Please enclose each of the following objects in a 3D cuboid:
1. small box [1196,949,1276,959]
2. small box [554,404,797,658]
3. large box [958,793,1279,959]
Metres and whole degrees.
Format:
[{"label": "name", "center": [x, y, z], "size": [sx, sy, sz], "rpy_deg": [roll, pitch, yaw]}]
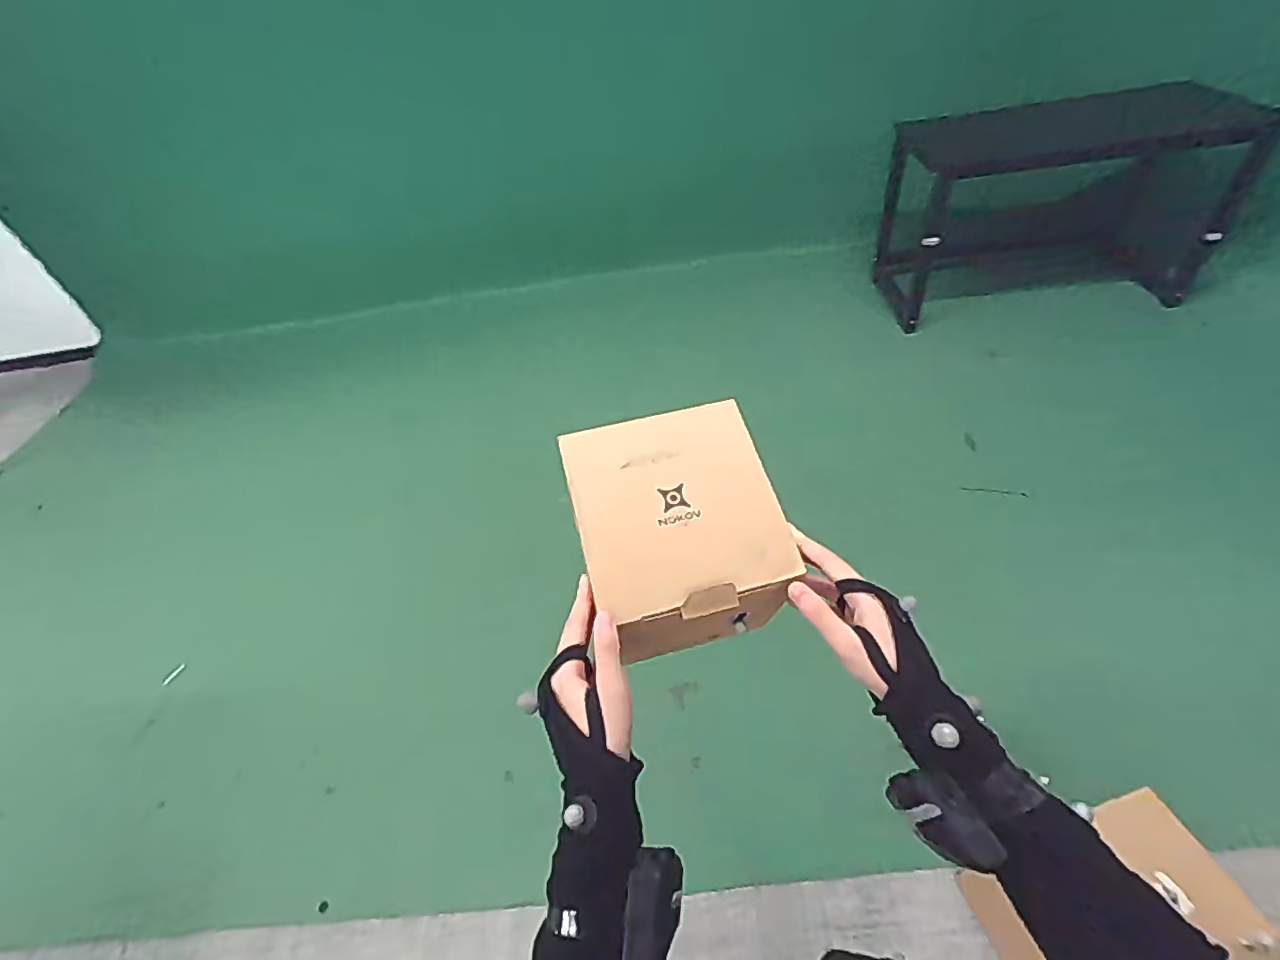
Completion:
[{"label": "small box", "center": [0.829, 0.740, 0.703], "size": [0.168, 0.176, 0.179], "rpy_deg": [-14, 45, -3]}, {"label": "small box", "center": [0.023, 0.059, 0.513], "size": [0.168, 0.176, 0.179], "rpy_deg": [-13, 62, -8]}, {"label": "large box", "center": [0.856, 0.850, 0.937], "size": [0.320, 0.320, 0.408], "rpy_deg": [-16, 44, -7]}]
